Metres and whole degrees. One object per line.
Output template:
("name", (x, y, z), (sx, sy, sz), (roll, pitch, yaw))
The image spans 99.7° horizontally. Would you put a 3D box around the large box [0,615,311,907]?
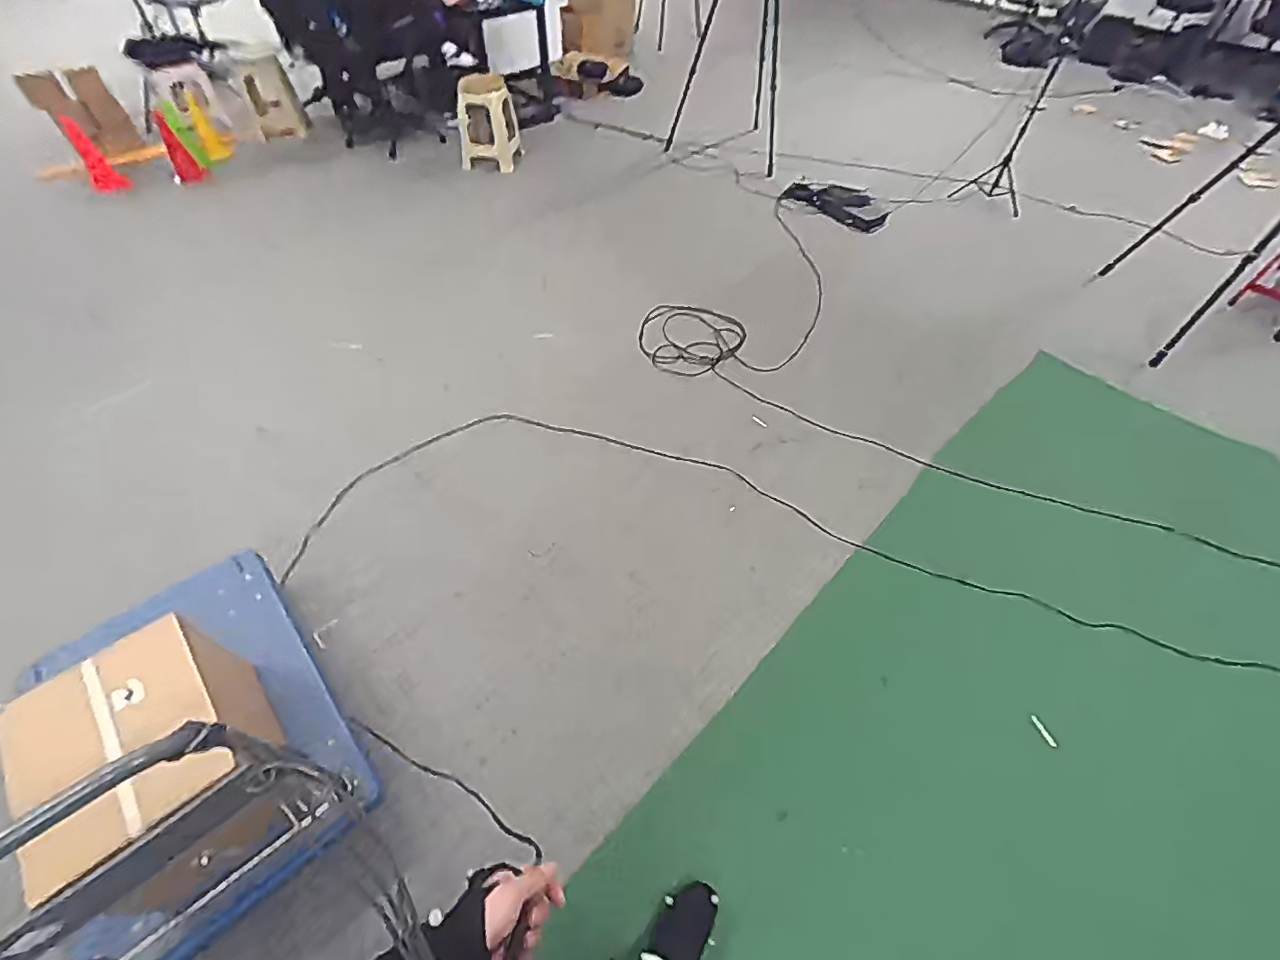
("large box", (-0.972, 0.571, 1.116), (0.320, 0.320, 0.408), (-35, 59, -26))
